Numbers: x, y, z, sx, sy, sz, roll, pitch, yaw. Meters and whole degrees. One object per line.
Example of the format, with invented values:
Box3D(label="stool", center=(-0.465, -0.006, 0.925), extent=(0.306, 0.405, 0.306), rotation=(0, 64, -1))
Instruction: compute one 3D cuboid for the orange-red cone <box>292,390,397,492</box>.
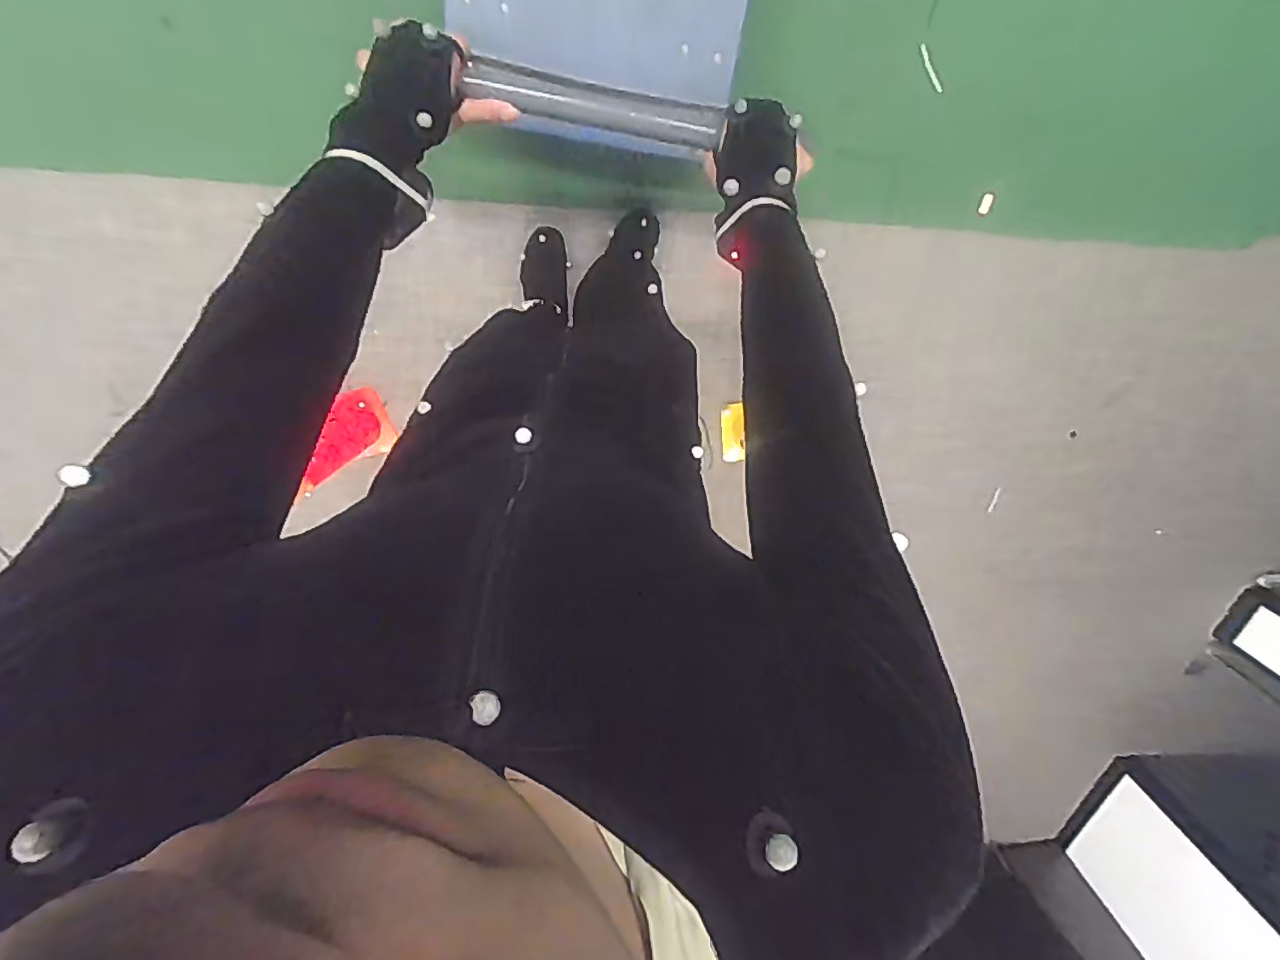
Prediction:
Box3D(label="orange-red cone", center=(-0.804, -0.070, 1.400), extent=(0.199, 0.360, 0.198), rotation=(-12, 119, 1))
